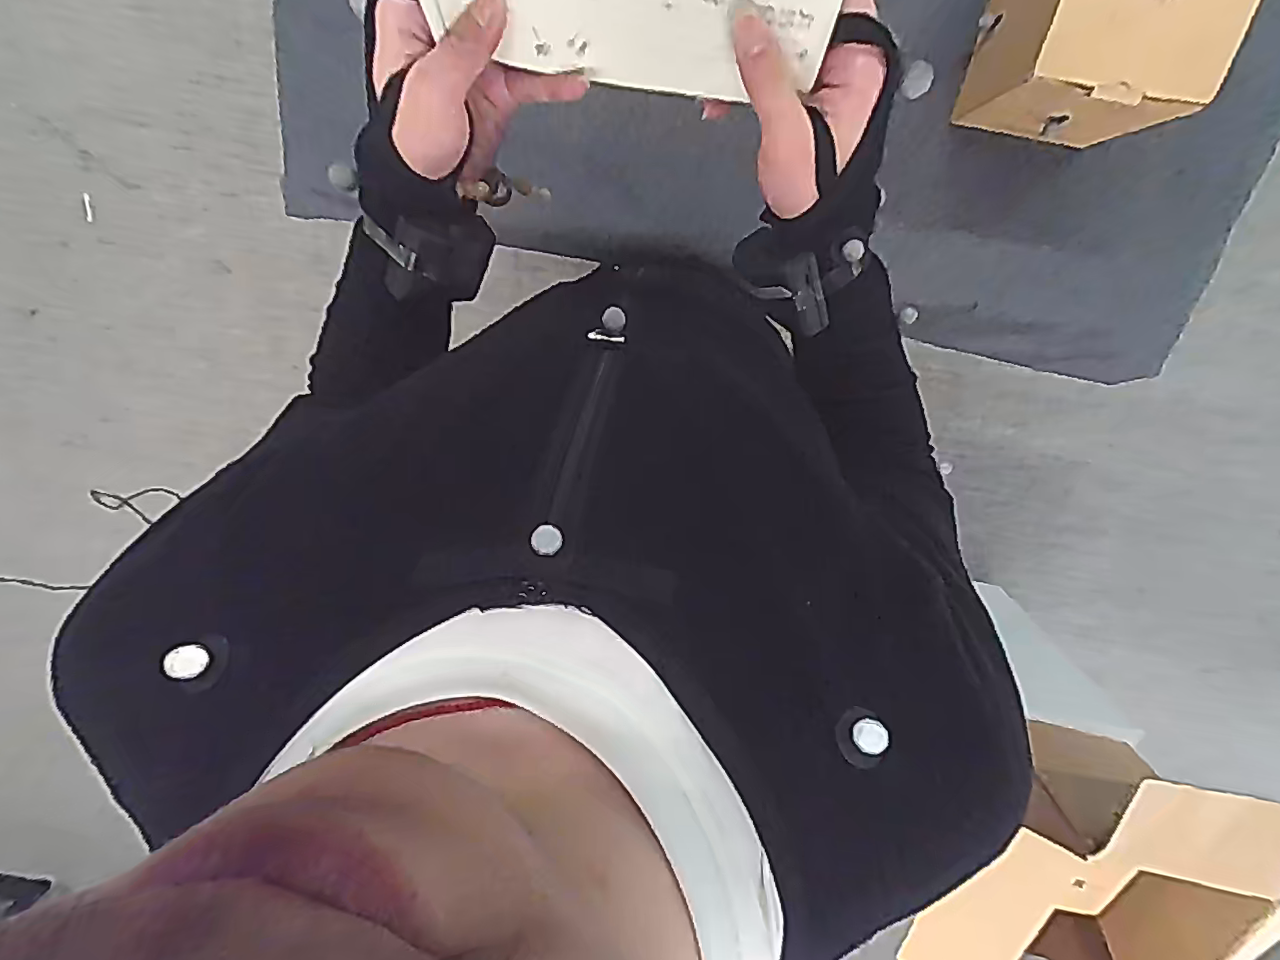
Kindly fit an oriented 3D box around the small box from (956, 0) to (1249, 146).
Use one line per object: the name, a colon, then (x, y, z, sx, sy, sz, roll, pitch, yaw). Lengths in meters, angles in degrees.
small box: (0.459, -0.462, 0.550, 0.168, 0.176, 0.179, 10, 113, 0)
